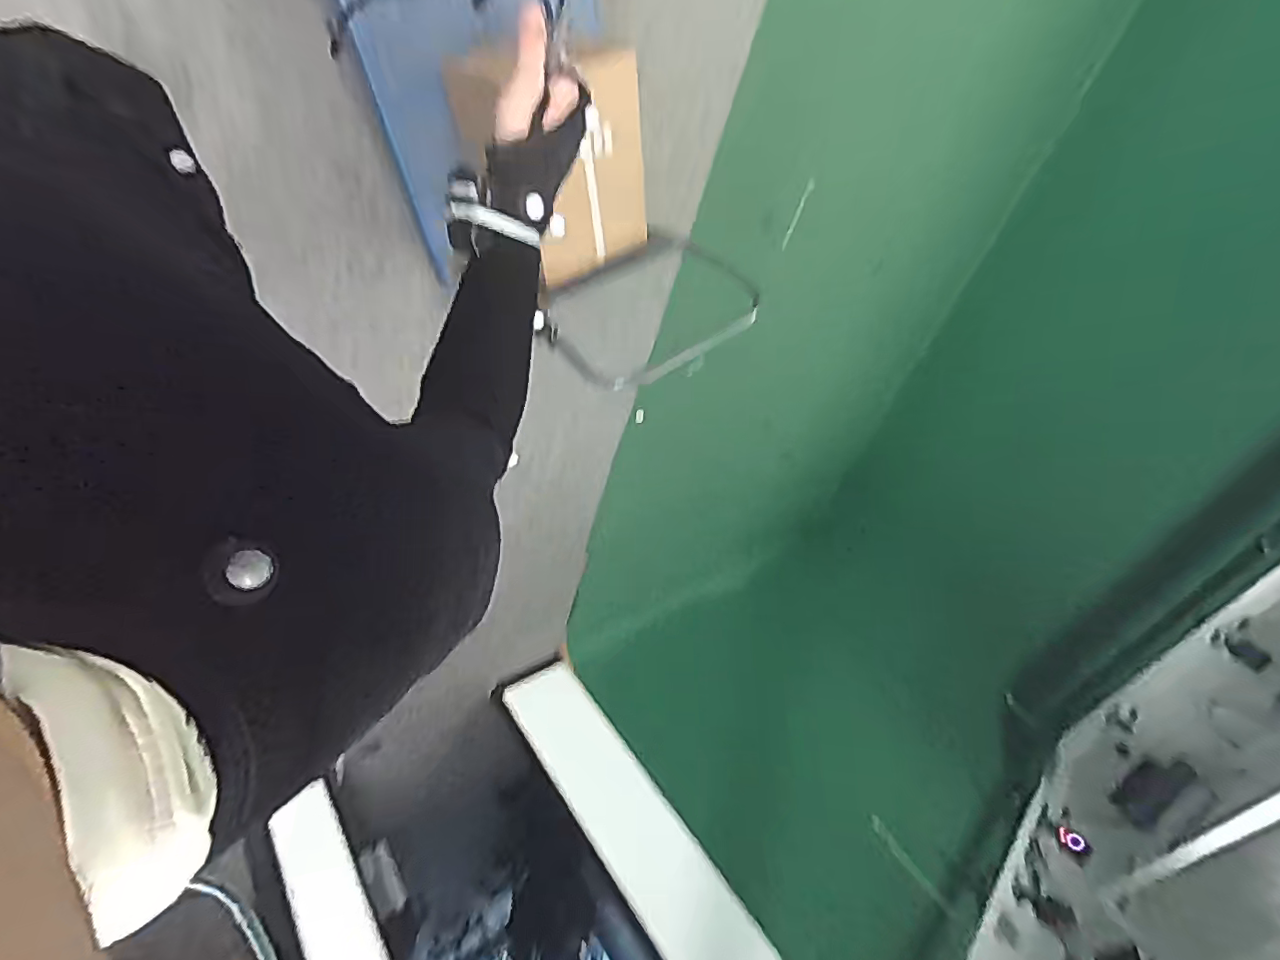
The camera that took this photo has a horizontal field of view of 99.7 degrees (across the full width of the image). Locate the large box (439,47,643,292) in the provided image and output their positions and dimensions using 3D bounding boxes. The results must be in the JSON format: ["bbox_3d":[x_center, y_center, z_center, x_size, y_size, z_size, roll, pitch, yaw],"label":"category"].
[{"bbox_3d":[-0.218,-0.737,1.288,0.320,0.320,0.408,-33,144,-22],"label":"large box"}]
